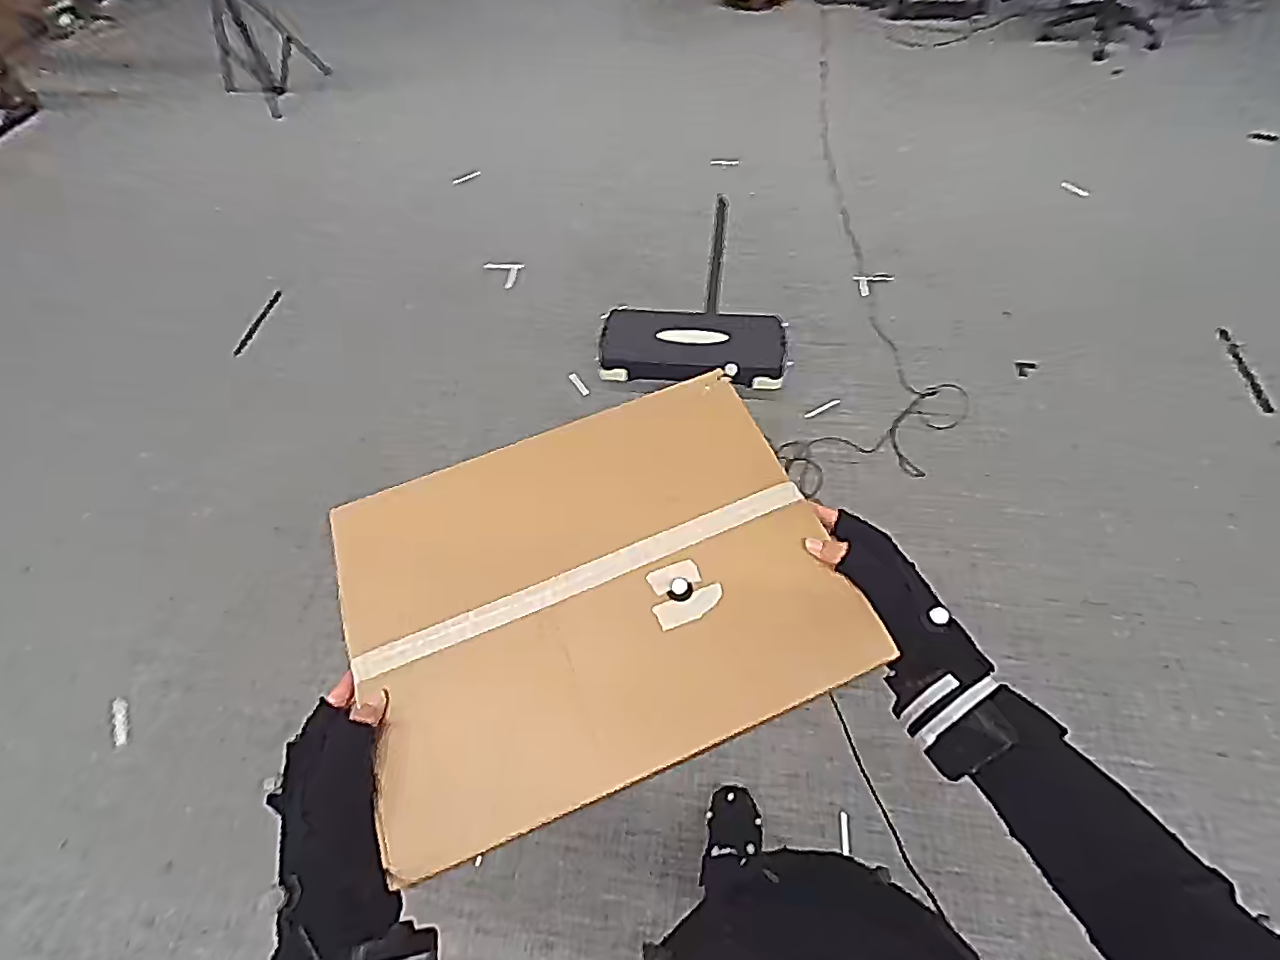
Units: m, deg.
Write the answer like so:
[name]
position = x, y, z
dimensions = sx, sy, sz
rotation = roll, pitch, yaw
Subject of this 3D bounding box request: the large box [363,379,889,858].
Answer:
[large box]
position = -0.025, 0.154, 0.611
dimensions = 0.408, 0.320, 0.320
rotation = -20, 63, -8
